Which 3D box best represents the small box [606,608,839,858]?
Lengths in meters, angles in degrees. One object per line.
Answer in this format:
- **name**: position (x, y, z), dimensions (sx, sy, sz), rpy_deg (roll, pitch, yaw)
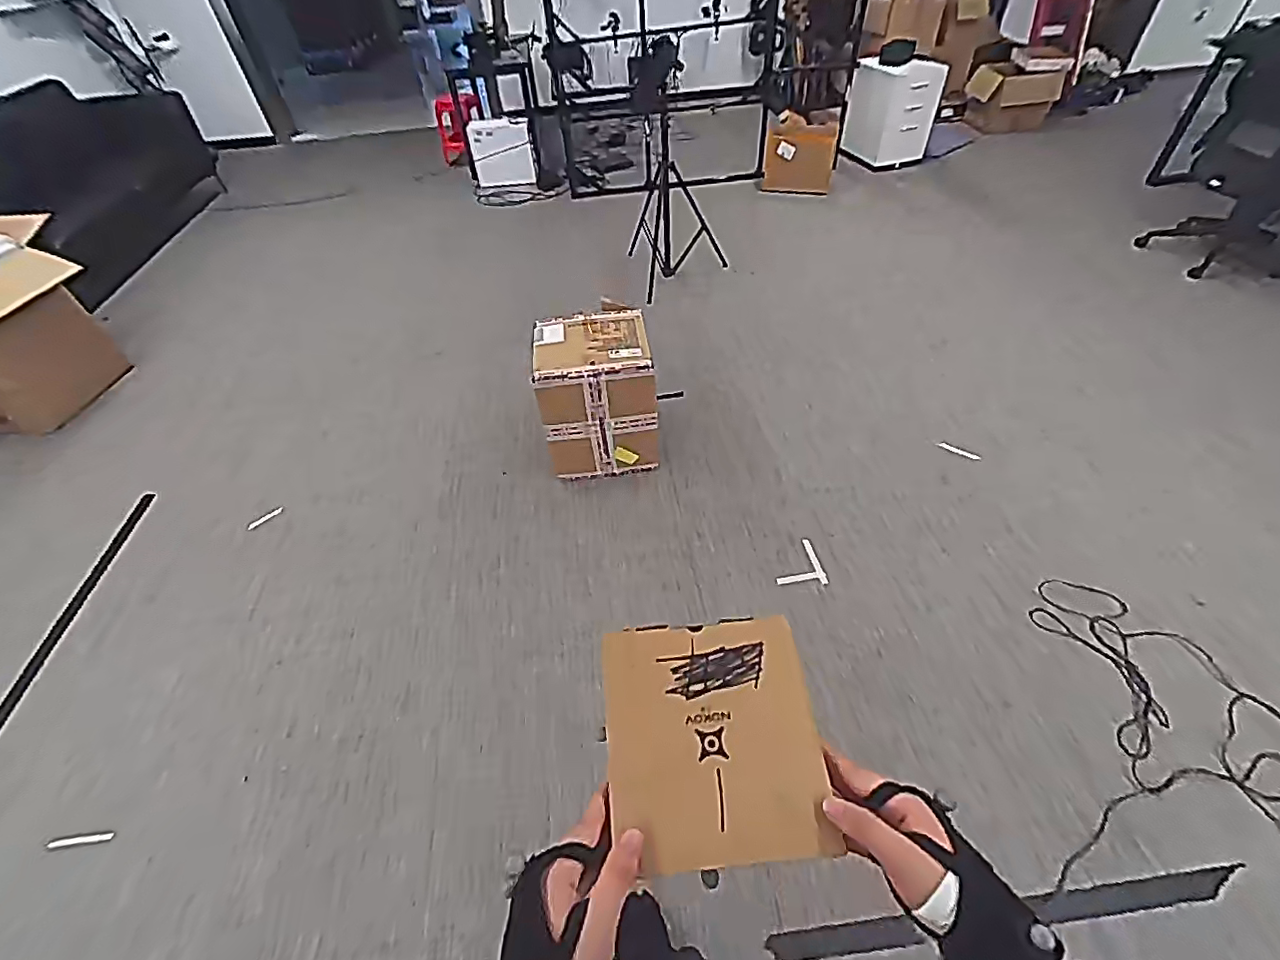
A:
- **small box**: position (0.056, 0.234, 0.495), dimensions (0.168, 0.176, 0.179), rpy_deg (-5, 57, -2)
